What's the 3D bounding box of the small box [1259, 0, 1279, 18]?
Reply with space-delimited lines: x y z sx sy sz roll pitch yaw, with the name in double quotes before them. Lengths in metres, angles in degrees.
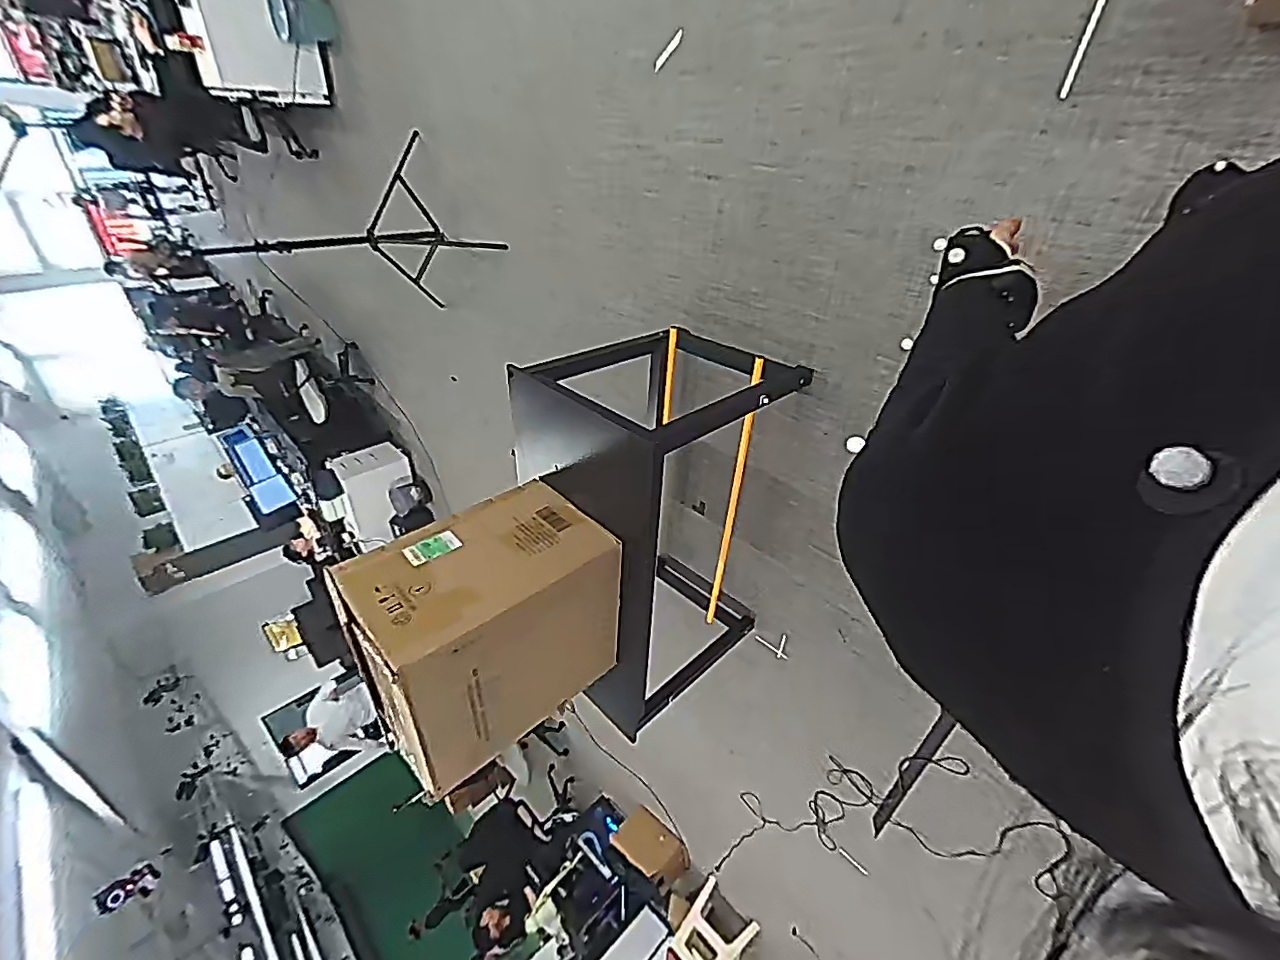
"small box" 1.007 -0.744 0.734 0.179 0.176 0.168 34 135 32
